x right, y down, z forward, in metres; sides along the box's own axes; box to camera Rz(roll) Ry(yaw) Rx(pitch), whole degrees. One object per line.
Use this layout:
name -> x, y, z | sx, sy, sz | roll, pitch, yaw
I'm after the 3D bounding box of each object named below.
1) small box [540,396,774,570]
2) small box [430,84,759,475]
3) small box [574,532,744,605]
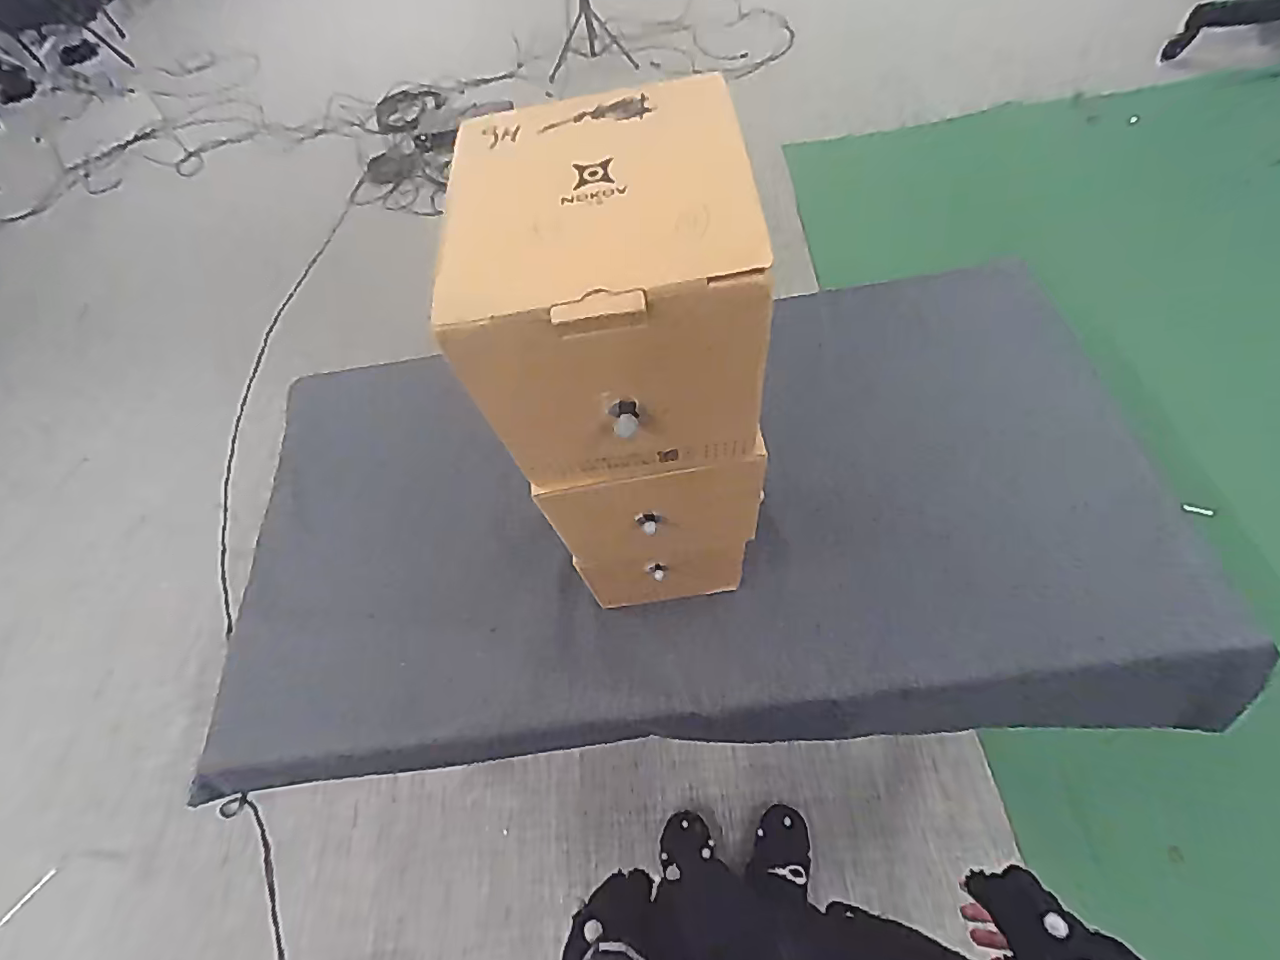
small box -> 0.008, -0.031, 0.502 | 0.179, 0.176, 0.168 | -12, 62, 1
small box -> -0.016, -0.114, 0.363 | 0.168, 0.176, 0.179 | -7, 62, 5
small box -> 0.021, 0.042, 0.648 | 0.179, 0.176, 0.168 | -9, 62, 2
